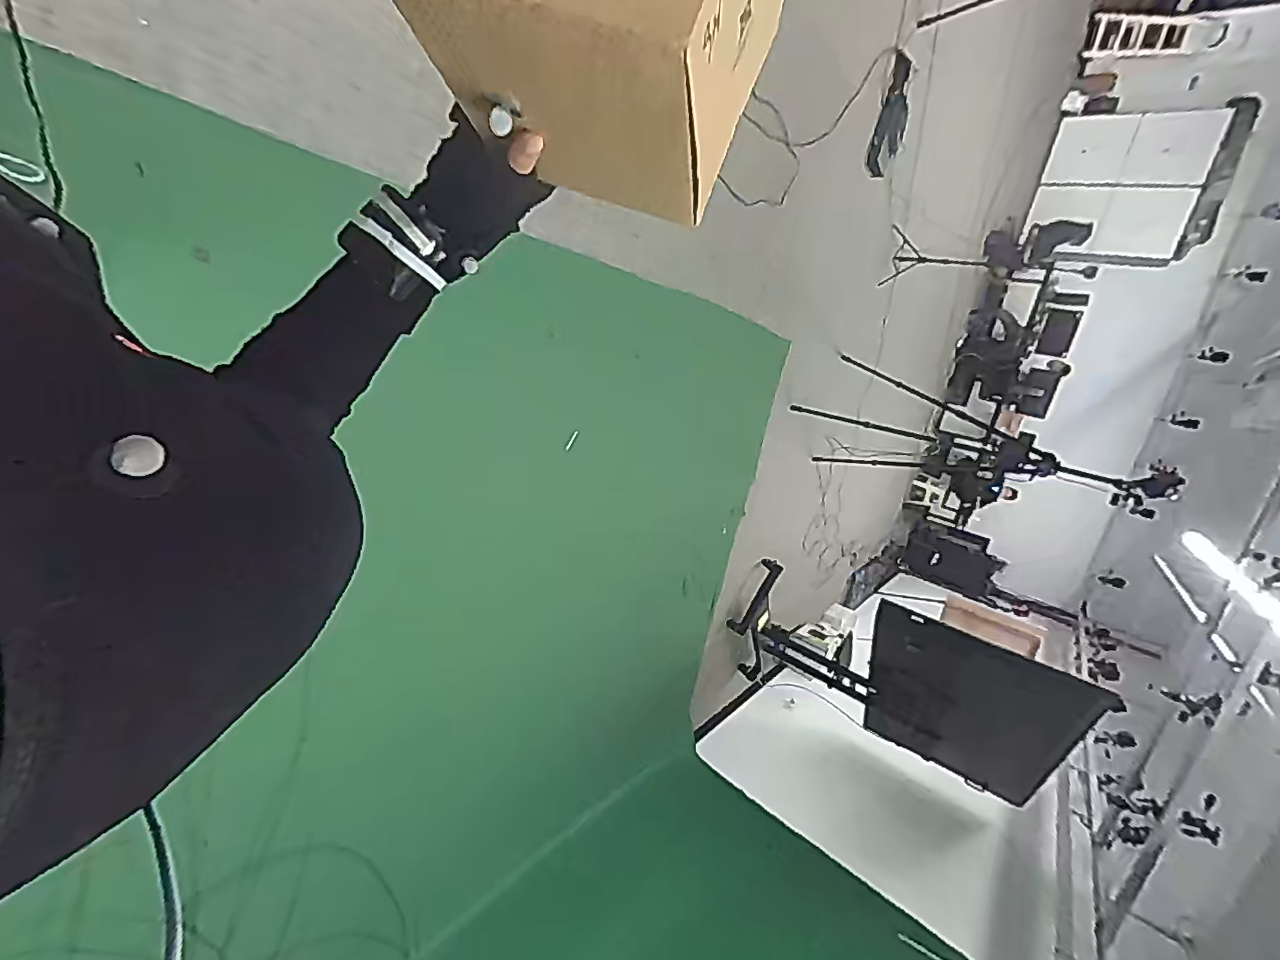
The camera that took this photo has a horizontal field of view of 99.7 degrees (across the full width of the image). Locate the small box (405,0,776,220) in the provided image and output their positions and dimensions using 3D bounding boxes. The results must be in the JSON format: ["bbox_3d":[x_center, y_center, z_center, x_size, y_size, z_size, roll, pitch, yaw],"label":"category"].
[{"bbox_3d":[-0.016,-0.297,0.324,0.179,0.176,0.168,-4,115,-84],"label":"small box"}]
